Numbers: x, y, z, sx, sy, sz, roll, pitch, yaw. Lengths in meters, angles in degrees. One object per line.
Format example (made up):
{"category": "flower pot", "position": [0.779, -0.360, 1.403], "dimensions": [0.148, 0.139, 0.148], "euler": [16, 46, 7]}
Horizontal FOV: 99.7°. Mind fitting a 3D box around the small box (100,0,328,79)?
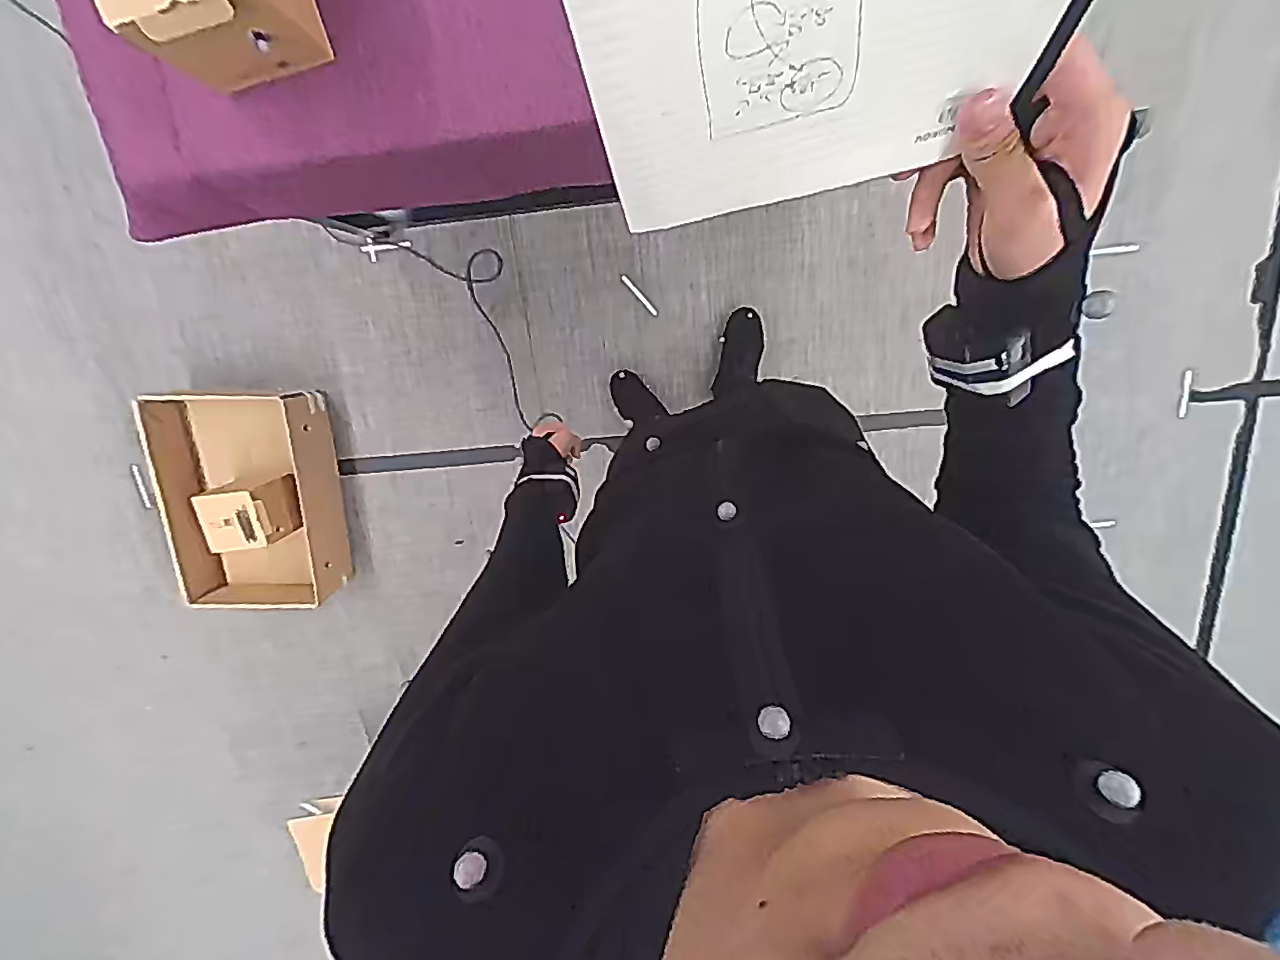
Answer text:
{"category": "small box", "position": [-0.506, -0.605, 0.627], "dimensions": [0.168, 0.176, 0.179], "euler": [-13, 105, 4]}
